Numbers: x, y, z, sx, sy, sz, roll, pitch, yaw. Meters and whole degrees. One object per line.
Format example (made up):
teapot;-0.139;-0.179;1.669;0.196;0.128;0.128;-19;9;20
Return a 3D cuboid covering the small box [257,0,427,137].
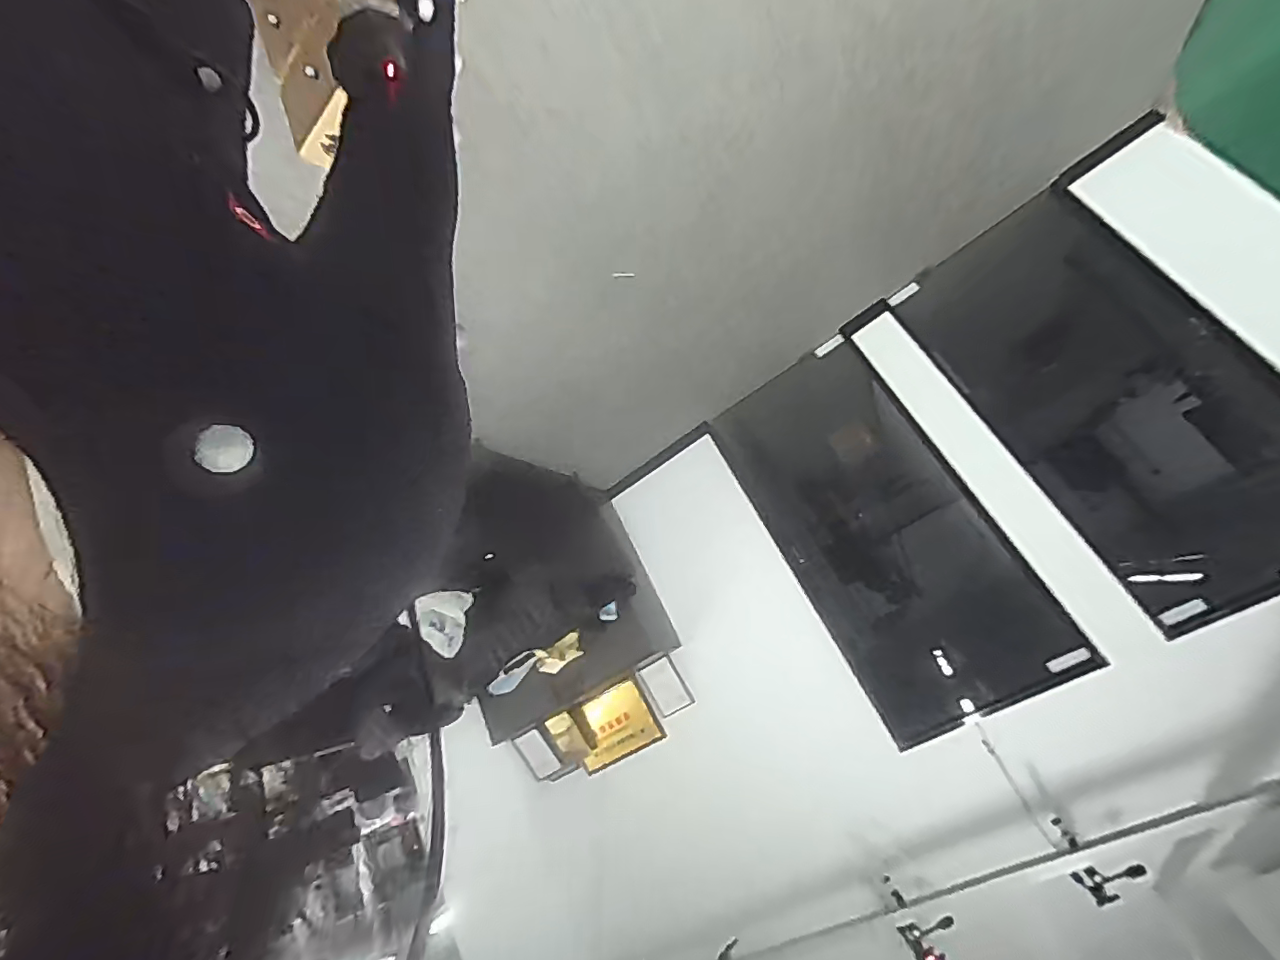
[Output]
small box;-0.495;-0.734;0.895;0.168;0.176;0.179;-34;159;22
